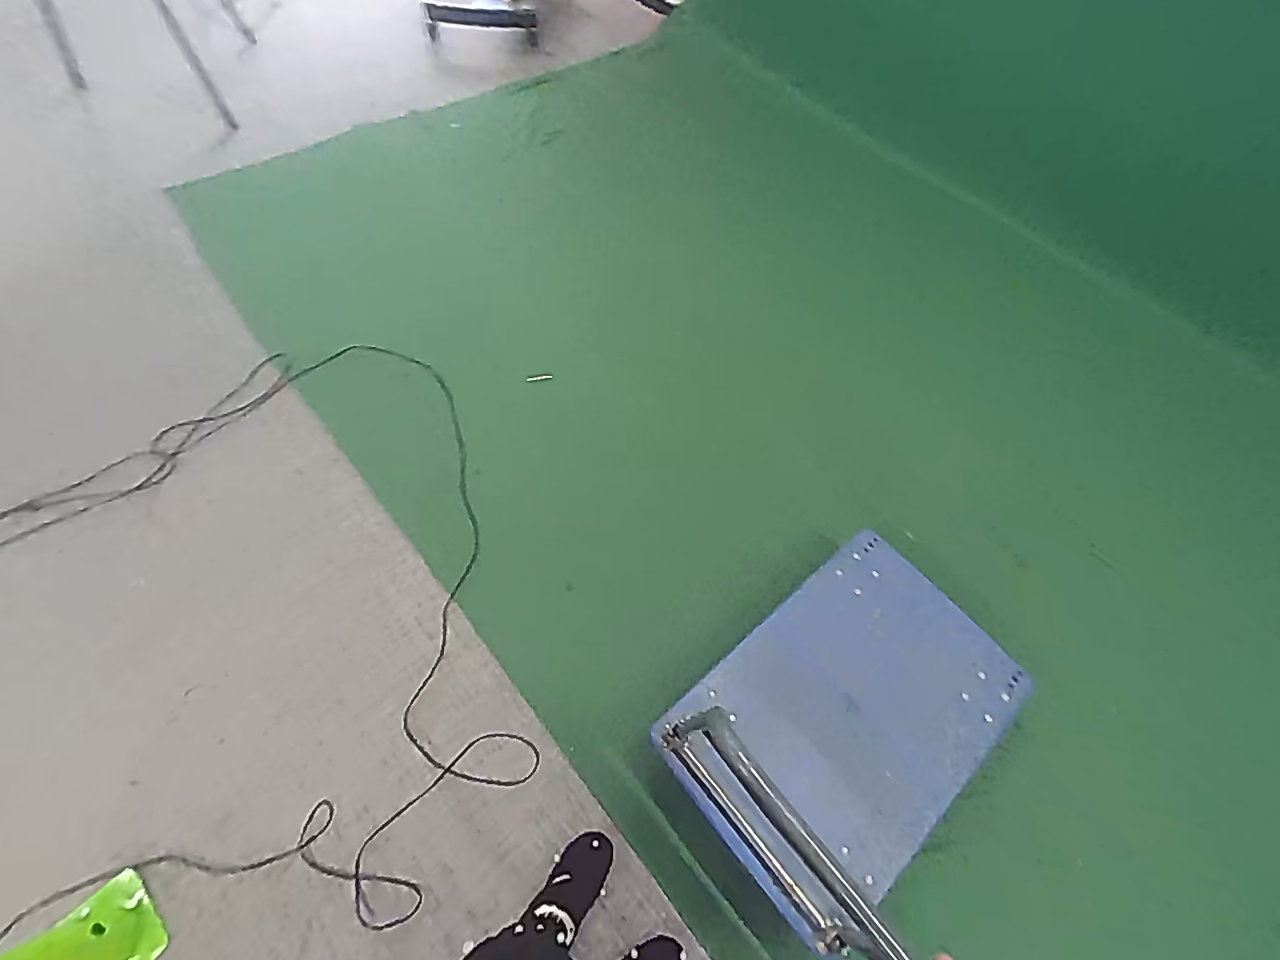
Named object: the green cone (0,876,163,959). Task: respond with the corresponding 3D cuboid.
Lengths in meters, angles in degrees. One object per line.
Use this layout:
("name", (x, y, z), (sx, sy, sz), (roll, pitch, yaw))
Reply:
("green cone", (-1.129, 0.907, 0.991), (0.202, 0.368, 0.200), (41, 65, 19))
